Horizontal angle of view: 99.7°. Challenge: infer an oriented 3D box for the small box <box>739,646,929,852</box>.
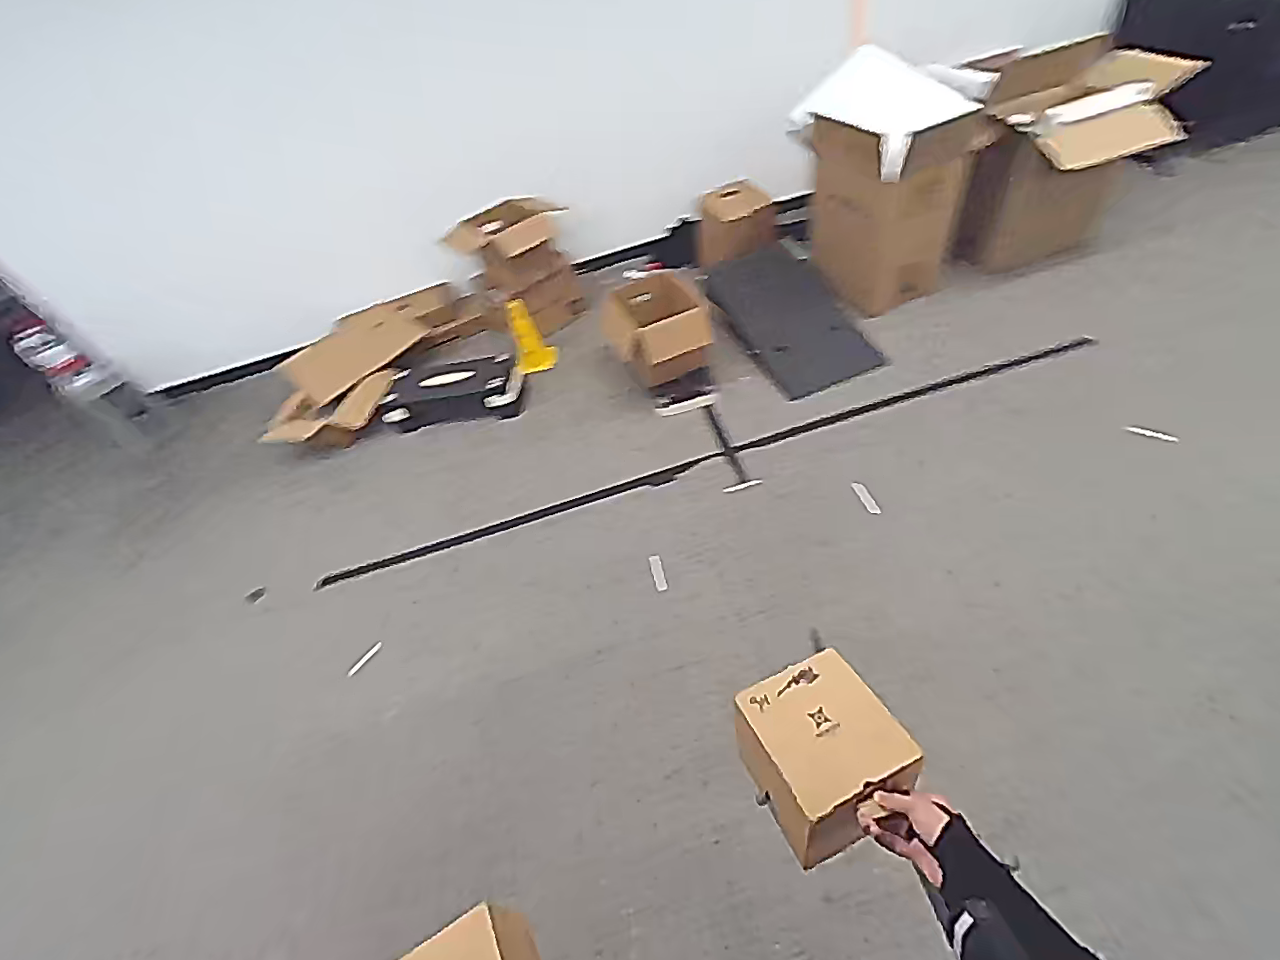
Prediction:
[{"bbox_3d":[0.251,0.368,0.734,0.168,0.176,0.179,-19,39,-11],"label":"small box"}]
